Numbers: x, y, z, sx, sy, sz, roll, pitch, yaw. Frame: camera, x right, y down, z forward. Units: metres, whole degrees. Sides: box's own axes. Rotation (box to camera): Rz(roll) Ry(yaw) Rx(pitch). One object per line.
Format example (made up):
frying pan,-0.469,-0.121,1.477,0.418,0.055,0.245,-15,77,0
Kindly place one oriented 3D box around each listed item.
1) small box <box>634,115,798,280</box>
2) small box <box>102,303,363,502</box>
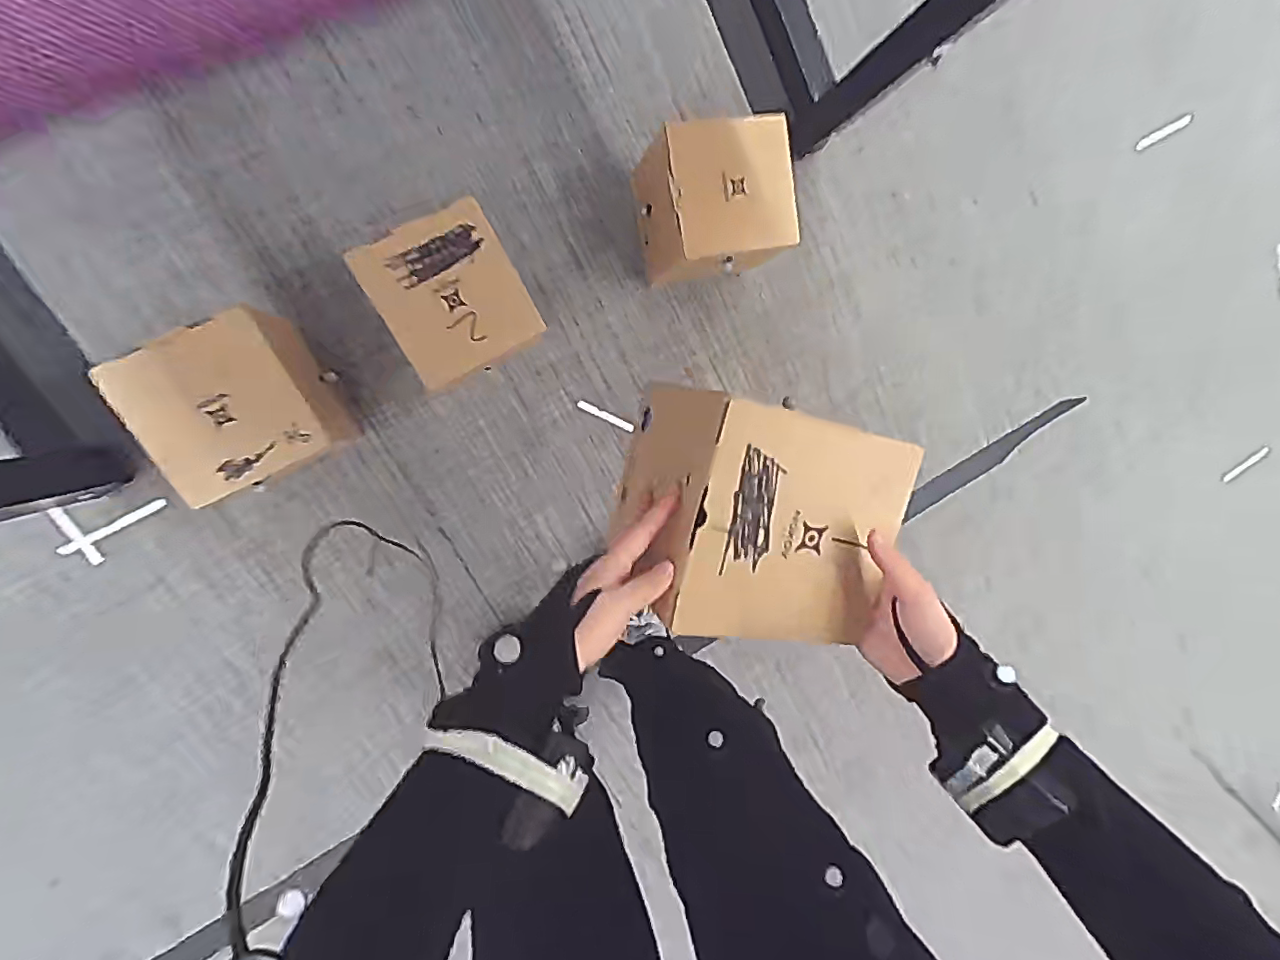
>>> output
small box,0.105,-0.402,0.791,0.179,0.176,0.168,-13,101,-12
small box,-0.482,-0.092,0.676,0.168,0.176,0.179,-28,103,-10
